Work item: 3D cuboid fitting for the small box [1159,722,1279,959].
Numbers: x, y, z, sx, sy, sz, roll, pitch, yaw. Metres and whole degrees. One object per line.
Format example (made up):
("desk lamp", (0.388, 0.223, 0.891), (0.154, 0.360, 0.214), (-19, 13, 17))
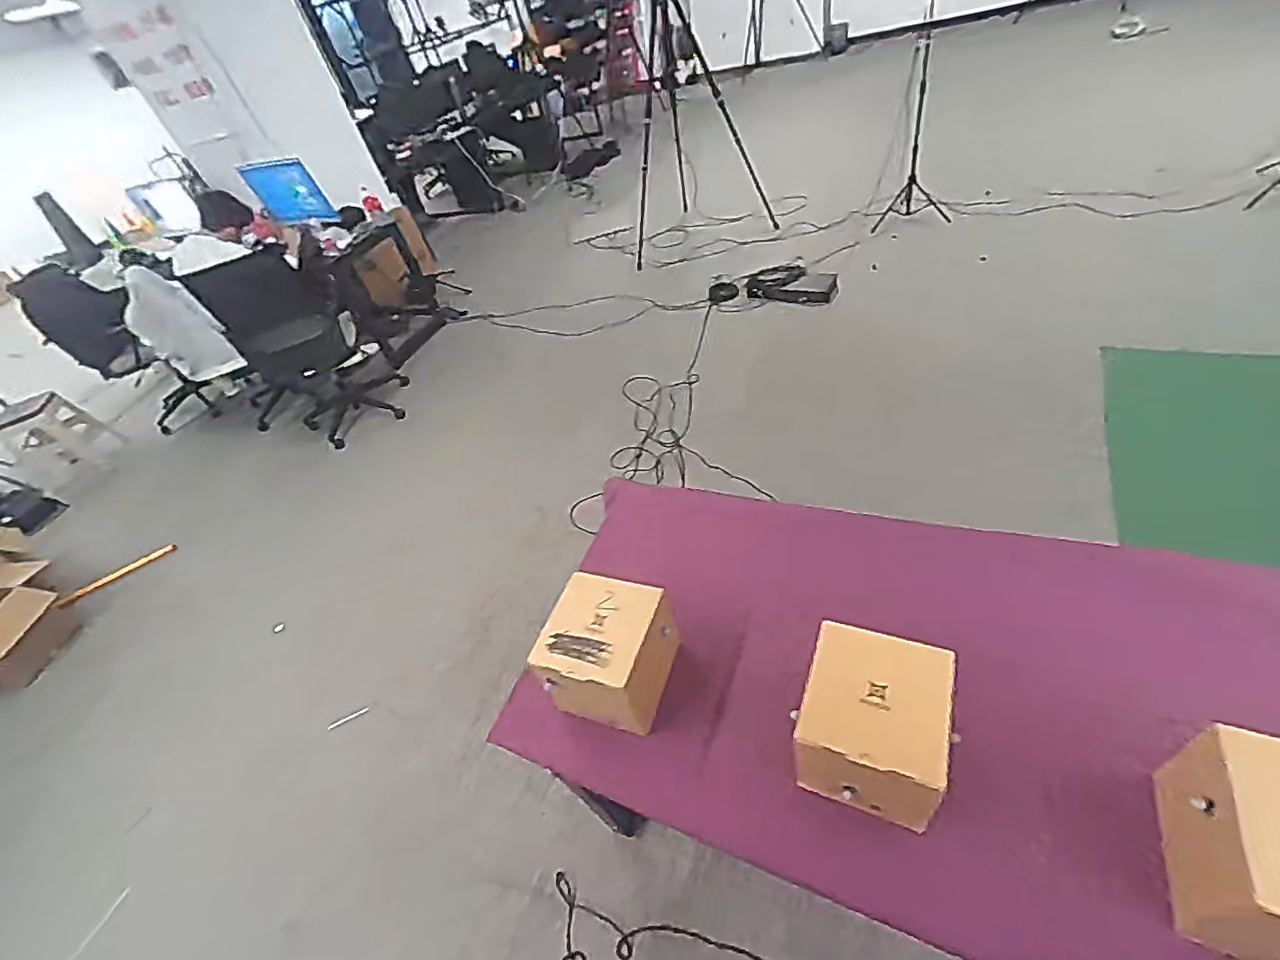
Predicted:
("small box", (0.678, 0.390, 0.554), (0.168, 0.176, 0.179), (9, 49, 27))

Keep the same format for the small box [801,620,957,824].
("small box", (0.318, 0.326, 0.735), (0.168, 0.176, 0.179), (10, 50, 25))
